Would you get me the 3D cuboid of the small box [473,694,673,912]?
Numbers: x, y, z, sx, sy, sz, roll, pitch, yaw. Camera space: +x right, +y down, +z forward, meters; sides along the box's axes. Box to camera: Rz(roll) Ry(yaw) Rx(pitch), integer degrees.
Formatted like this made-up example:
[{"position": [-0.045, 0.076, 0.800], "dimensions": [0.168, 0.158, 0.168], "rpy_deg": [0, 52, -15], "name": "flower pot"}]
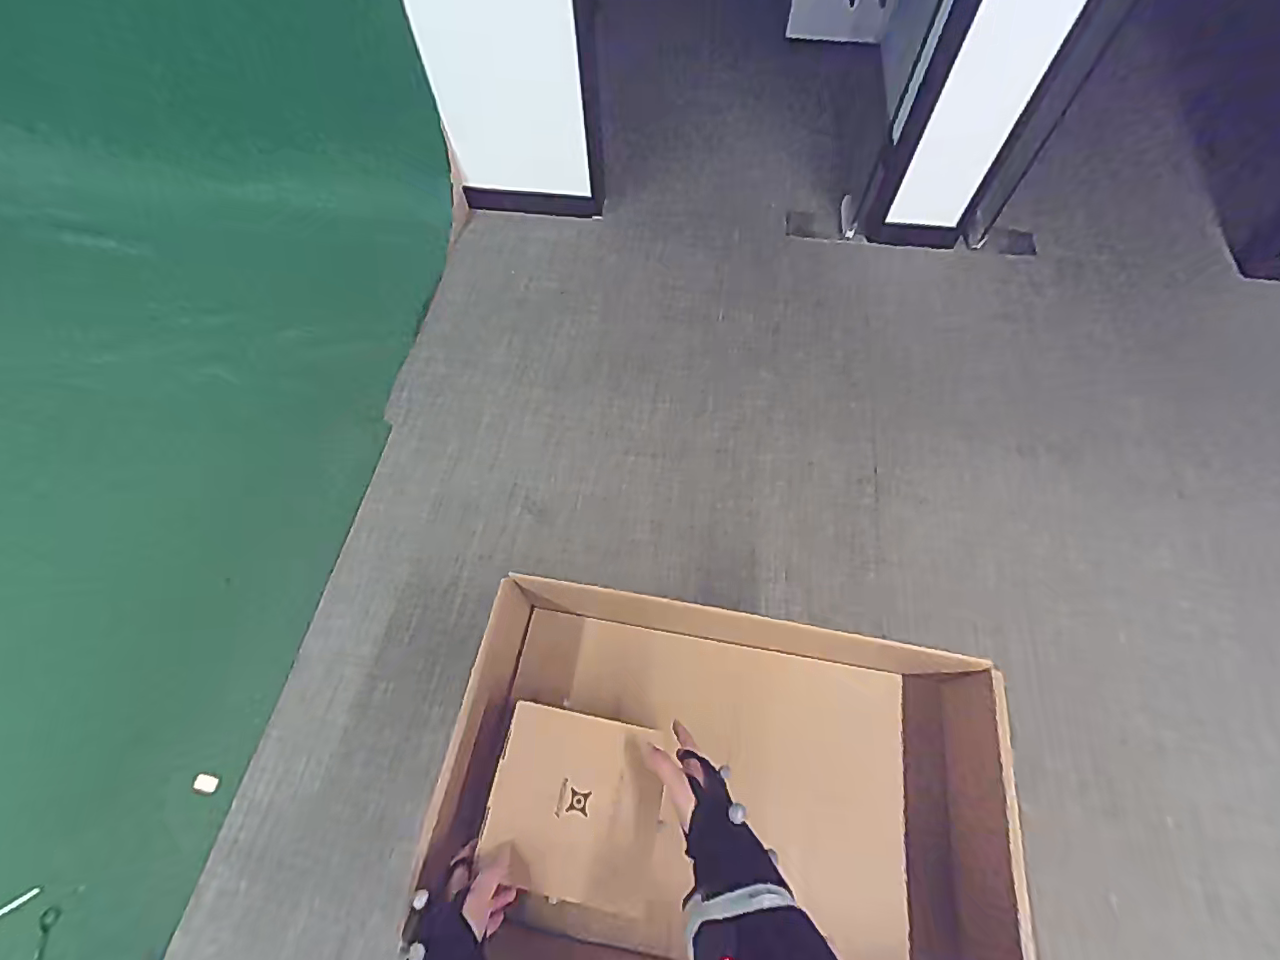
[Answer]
[{"position": [-0.061, 0.360, 0.626], "dimensions": [0.179, 0.176, 0.168], "rpy_deg": [9, 65, 7], "name": "small box"}]
